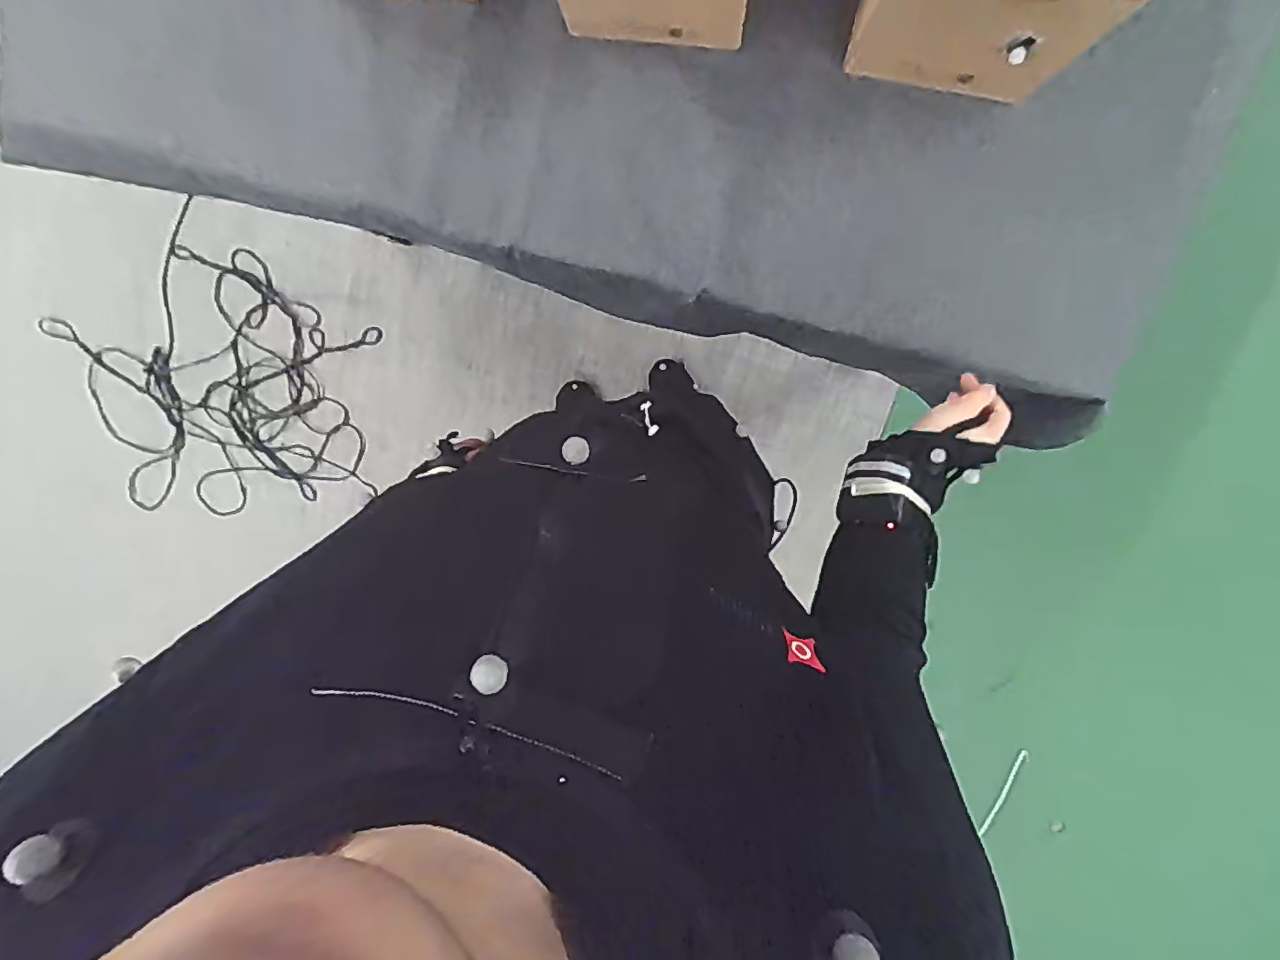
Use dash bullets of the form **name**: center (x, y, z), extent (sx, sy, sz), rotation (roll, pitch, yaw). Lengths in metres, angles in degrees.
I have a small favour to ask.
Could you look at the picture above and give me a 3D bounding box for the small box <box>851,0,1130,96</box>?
- **small box**: center (0.279, -0.431, 0.409), extent (0.168, 0.176, 0.179), rotation (11, 103, 1)
